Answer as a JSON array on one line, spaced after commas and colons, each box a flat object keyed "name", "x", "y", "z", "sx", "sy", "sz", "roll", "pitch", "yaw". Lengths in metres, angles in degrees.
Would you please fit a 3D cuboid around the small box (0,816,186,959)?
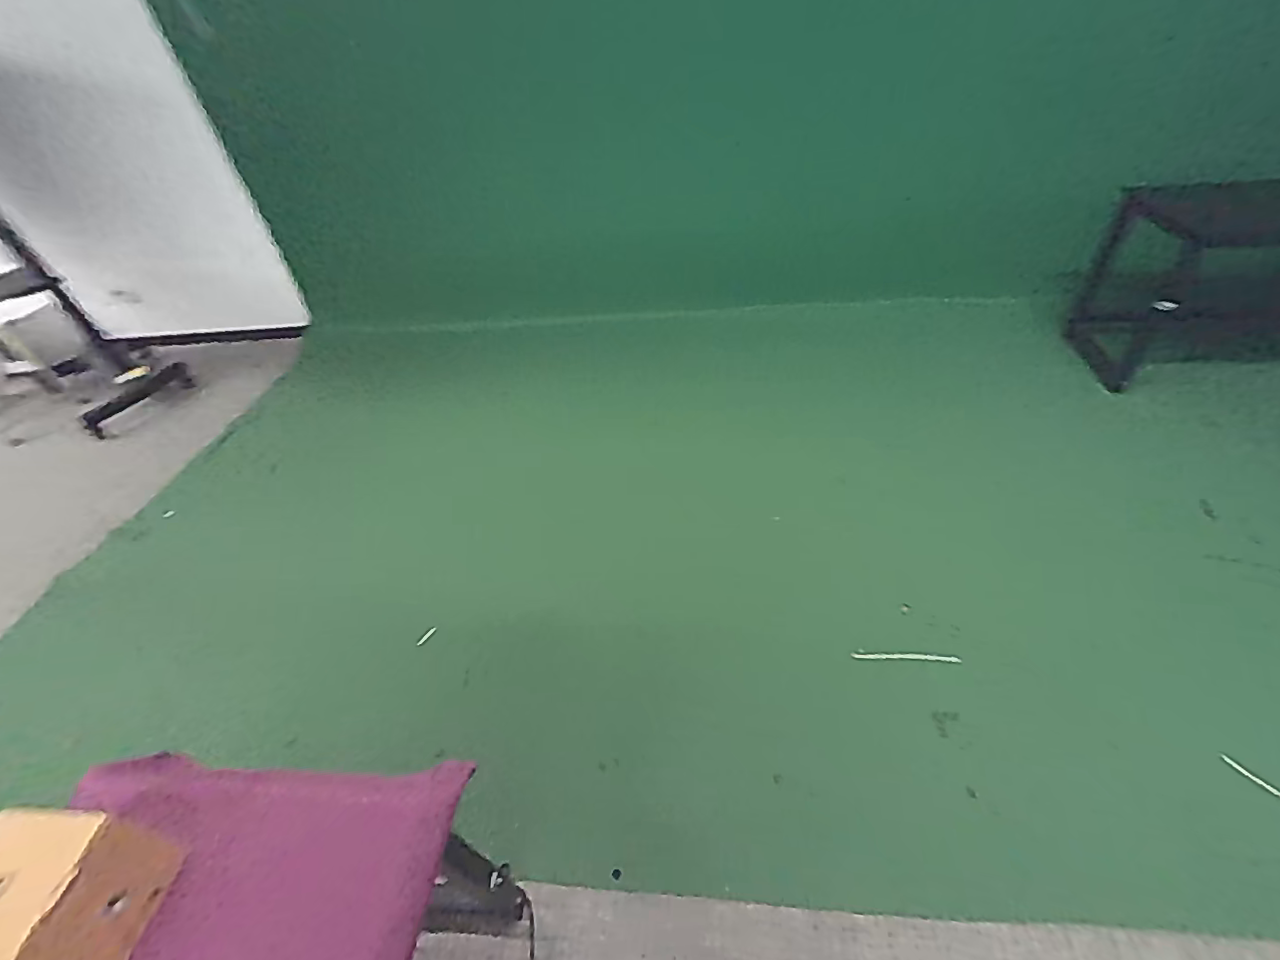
[{"name": "small box", "x": -0.786, "y": 0.574, "z": 0.731, "sx": 0.179, "sy": 0.176, "sz": 0.168, "roll": -2, "pitch": 43, "yaw": 6}]
